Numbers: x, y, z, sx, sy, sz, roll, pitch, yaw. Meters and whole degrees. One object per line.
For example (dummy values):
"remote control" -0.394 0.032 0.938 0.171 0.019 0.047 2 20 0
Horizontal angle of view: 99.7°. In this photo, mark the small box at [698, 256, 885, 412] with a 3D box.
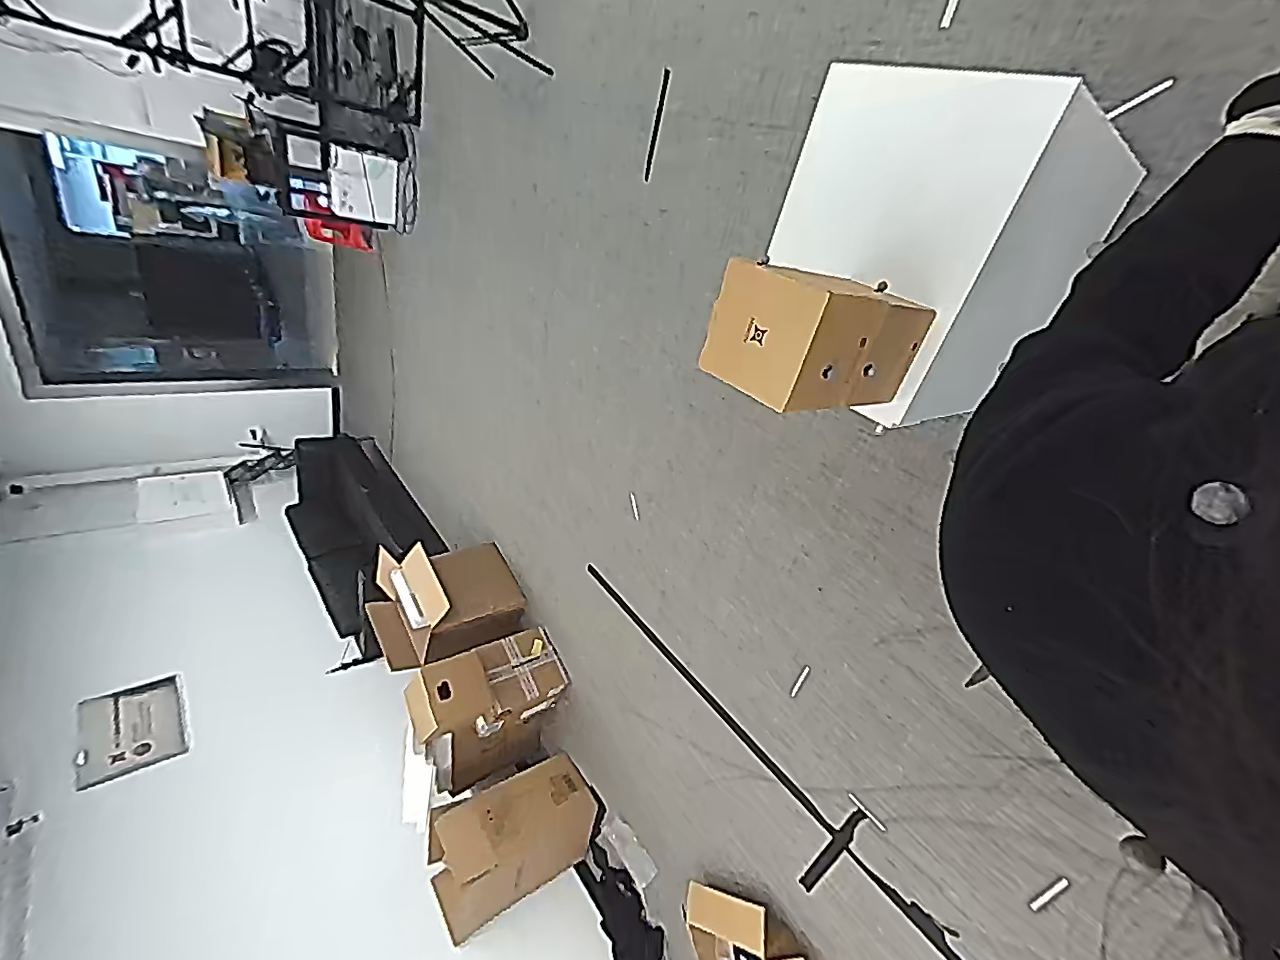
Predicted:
"small box" 0.221 -0.216 0.792 0.179 0.176 0.168 40 127 38

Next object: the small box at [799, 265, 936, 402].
"small box" 0.344 -0.240 0.897 0.179 0.176 0.168 42 128 38
